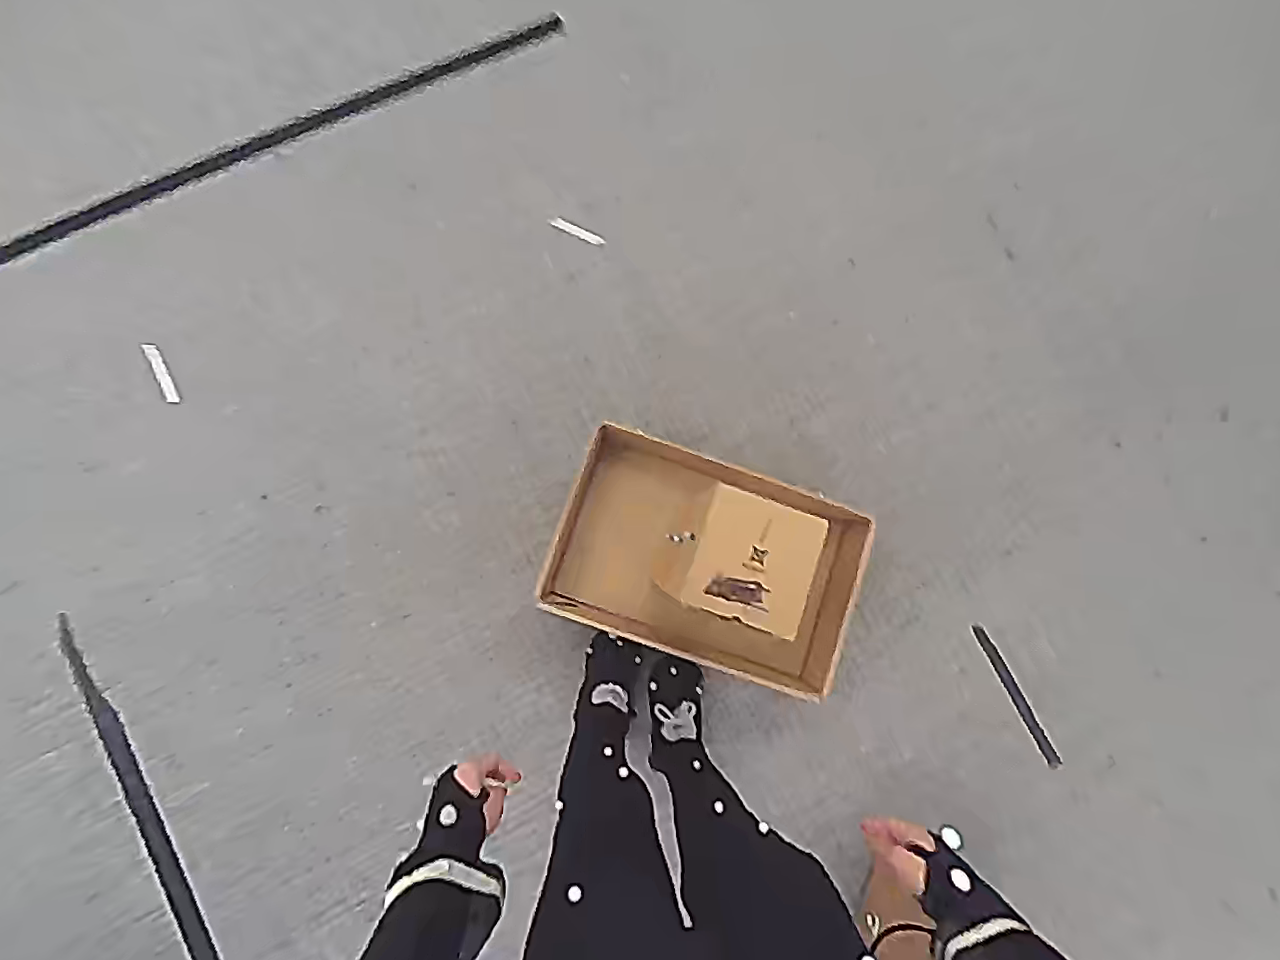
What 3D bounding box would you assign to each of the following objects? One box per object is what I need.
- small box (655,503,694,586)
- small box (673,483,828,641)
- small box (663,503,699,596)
[{"bbox_3d":[0.137,0.164,1.146,0.168,0.176,0.179,23,83,0],"label":"small box"},{"bbox_3d":[0.155,0.121,0.822,0.168,0.176,0.179,20,82,0],"label":"small box"},{"bbox_3d":[0.146,0.145,0.985,0.168,0.176,0.179,21,84,0],"label":"small box"}]
